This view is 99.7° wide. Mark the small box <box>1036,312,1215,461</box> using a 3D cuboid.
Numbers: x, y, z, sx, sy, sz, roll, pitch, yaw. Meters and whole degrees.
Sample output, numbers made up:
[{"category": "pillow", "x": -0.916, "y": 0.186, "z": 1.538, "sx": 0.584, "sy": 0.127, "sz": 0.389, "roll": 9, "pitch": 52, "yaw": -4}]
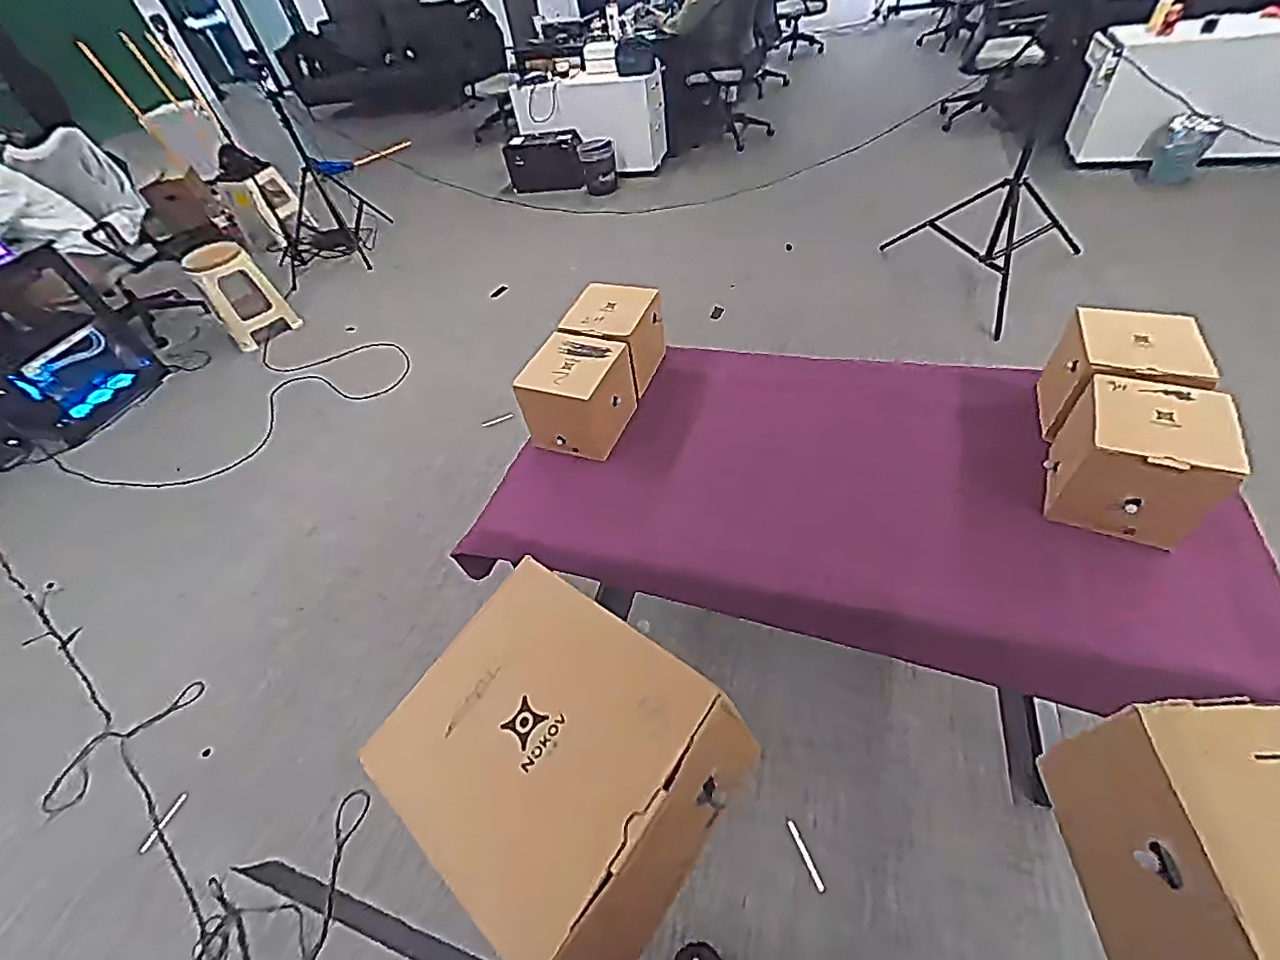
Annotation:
[{"category": "small box", "x": 0.815, "y": -0.162, "z": 0.934, "sx": 0.168, "sy": 0.176, "sz": 0.179, "roll": 13, "pitch": 51, "yaw": 19}]

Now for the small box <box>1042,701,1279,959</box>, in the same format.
[{"category": "small box", "x": 0.381, "y": 0.242, "z": 0.317, "sx": 0.168, "sy": 0.176, "sz": 0.179, "roll": -7, "pitch": 53, "yaw": 11}]

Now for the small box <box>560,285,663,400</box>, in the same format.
[{"category": "small box", "x": -0.053, "y": -0.305, "z": 1.198, "sx": 0.168, "sy": 0.176, "sz": 0.179, "roll": 12, "pitch": 53, "yaw": 19}]

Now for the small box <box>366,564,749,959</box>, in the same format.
[{"category": "small box", "x": -0.041, "y": 0.195, "z": 0.385, "sx": 0.179, "sy": 0.176, "sz": 0.168, "roll": 25, "pitch": 65, "yaw": 34}]
